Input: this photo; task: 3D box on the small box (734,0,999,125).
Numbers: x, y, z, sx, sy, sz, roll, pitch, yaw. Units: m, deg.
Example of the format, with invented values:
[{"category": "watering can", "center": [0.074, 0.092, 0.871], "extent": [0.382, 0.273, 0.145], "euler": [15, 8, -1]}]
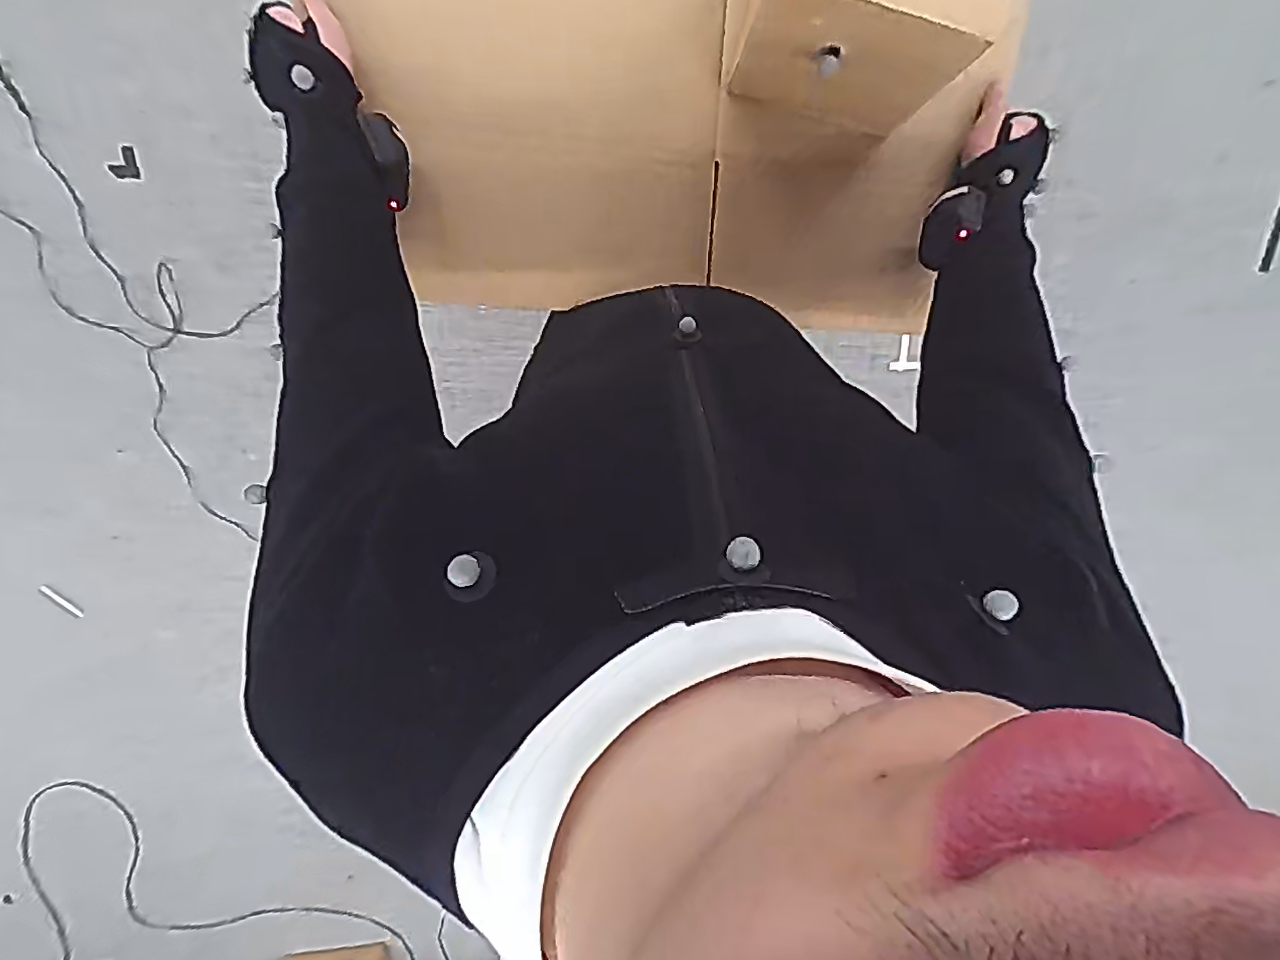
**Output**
[{"category": "small box", "center": [0.192, -0.440, 0.460], "extent": [0.179, 0.176, 0.168], "euler": [13, 101, -4]}]
